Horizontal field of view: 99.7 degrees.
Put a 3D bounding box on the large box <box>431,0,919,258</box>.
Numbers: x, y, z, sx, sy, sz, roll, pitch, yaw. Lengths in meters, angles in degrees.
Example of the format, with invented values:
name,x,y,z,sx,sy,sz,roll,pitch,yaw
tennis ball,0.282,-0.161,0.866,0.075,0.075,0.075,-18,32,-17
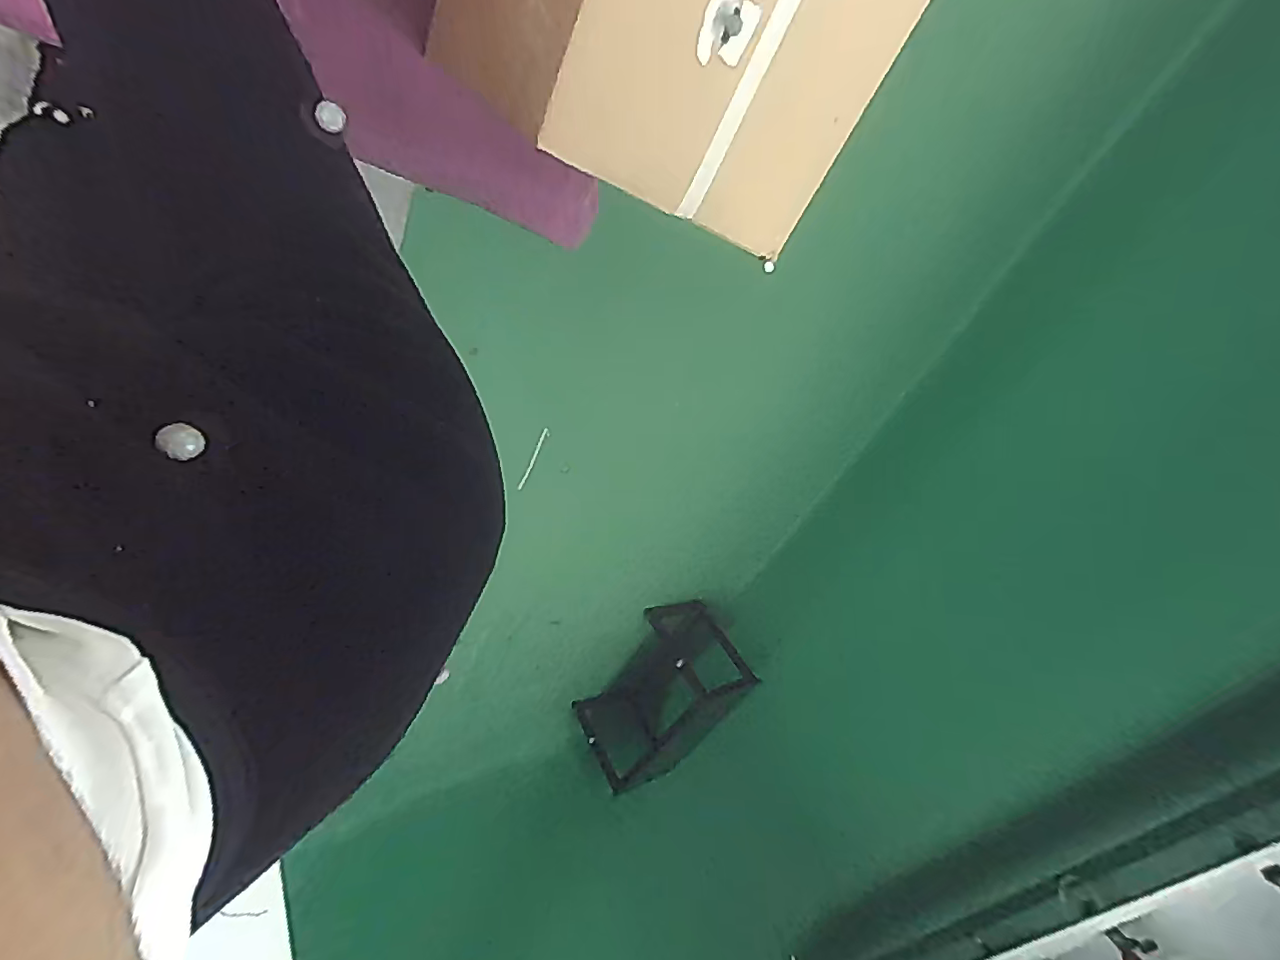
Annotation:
name,x,y,z,sx,sy,sz,roll,pitch,yaw
large box,0.045,-0.500,0.500,0.320,0.320,0.408,1,131,-42
